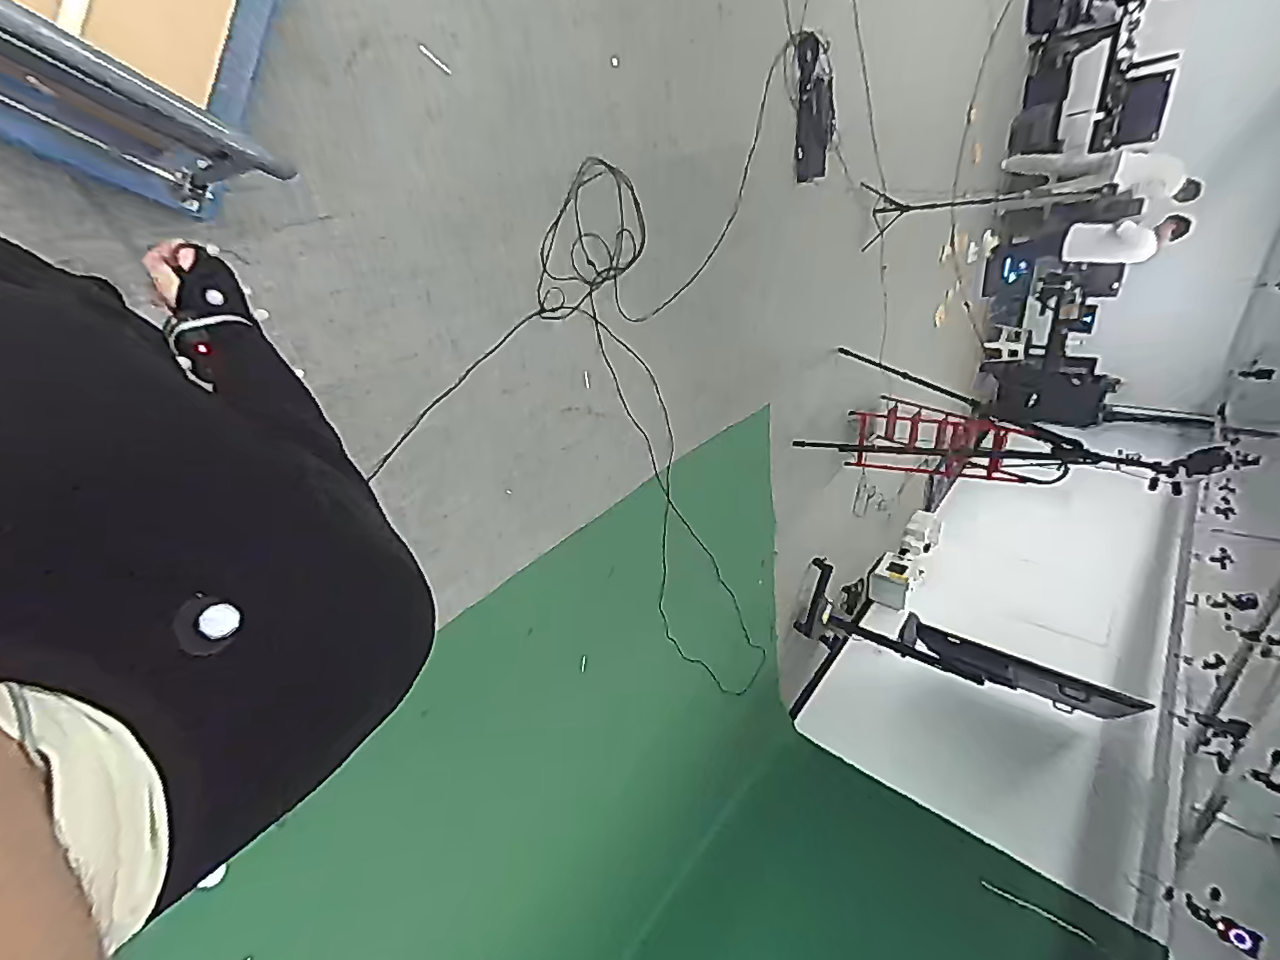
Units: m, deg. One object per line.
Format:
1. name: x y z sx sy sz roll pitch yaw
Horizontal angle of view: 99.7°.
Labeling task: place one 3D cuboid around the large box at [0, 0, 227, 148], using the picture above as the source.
1. large box: -0.861 -0.823 0.837 0.320 0.320 0.408 15 90 -51
